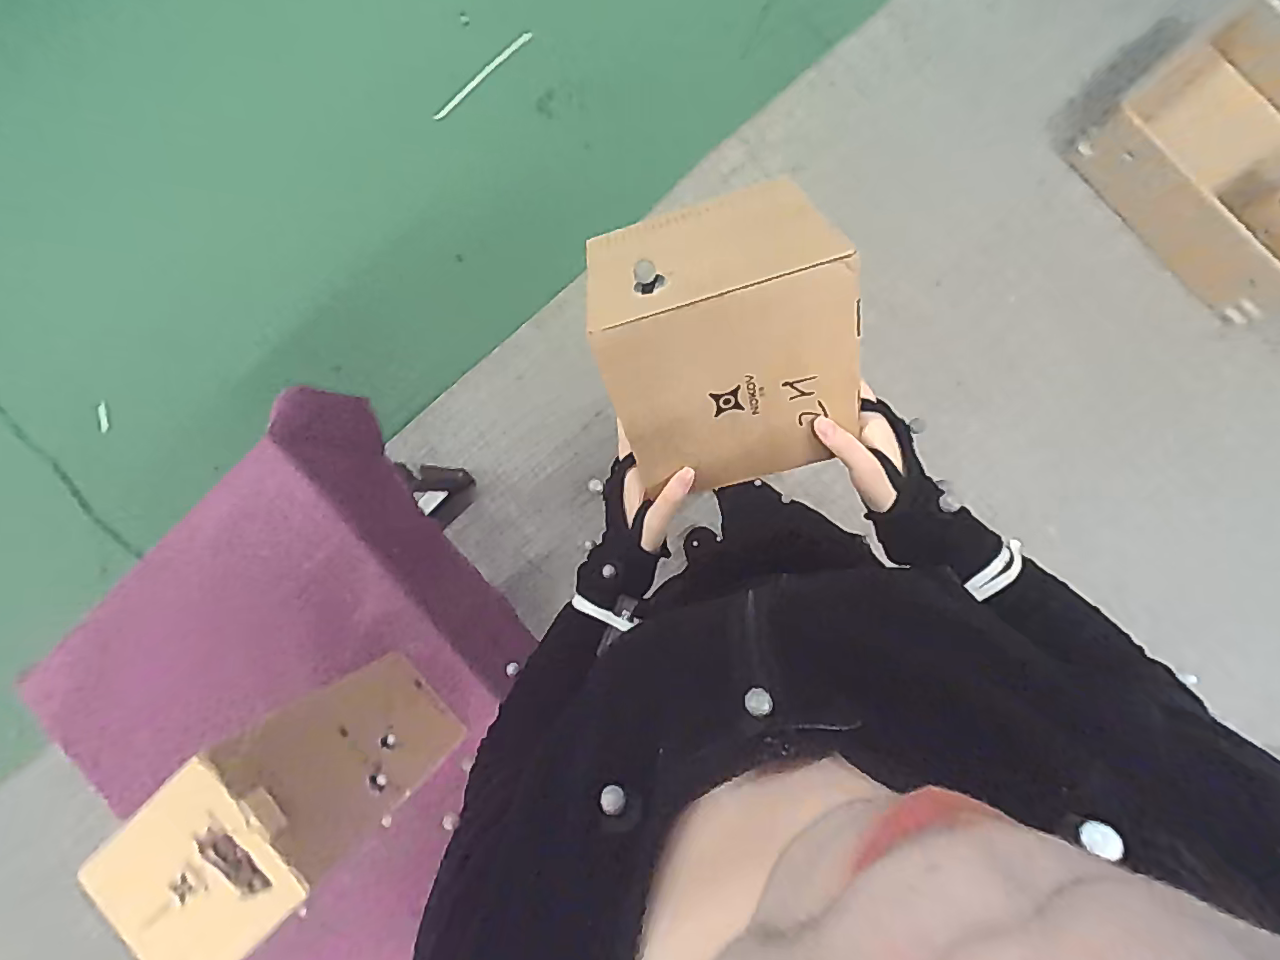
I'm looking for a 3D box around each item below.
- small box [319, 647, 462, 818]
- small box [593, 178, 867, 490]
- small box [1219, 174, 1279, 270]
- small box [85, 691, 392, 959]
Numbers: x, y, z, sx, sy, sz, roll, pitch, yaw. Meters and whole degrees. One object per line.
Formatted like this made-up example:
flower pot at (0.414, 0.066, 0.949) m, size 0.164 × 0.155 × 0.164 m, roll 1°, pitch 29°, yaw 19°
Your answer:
small box at (-0.383, 0.366, 0.744) m, size 0.179 × 0.176 × 0.168 m, roll -44°, pitch 87°, yaw 5°
small box at (0.068, -0.120, 0.449) m, size 0.179 × 0.168 × 0.176 m, roll -13°, pitch 44°, yaw 8°
small box at (1.506, -0.618, 1.237) m, size 0.179 × 0.176 × 0.168 m, roll -38°, pitch 85°, yaw 4°
small box at (-0.403, 0.364, 0.580) m, size 0.179 × 0.176 × 0.168 m, roll -44°, pitch 85°, yaw 5°
